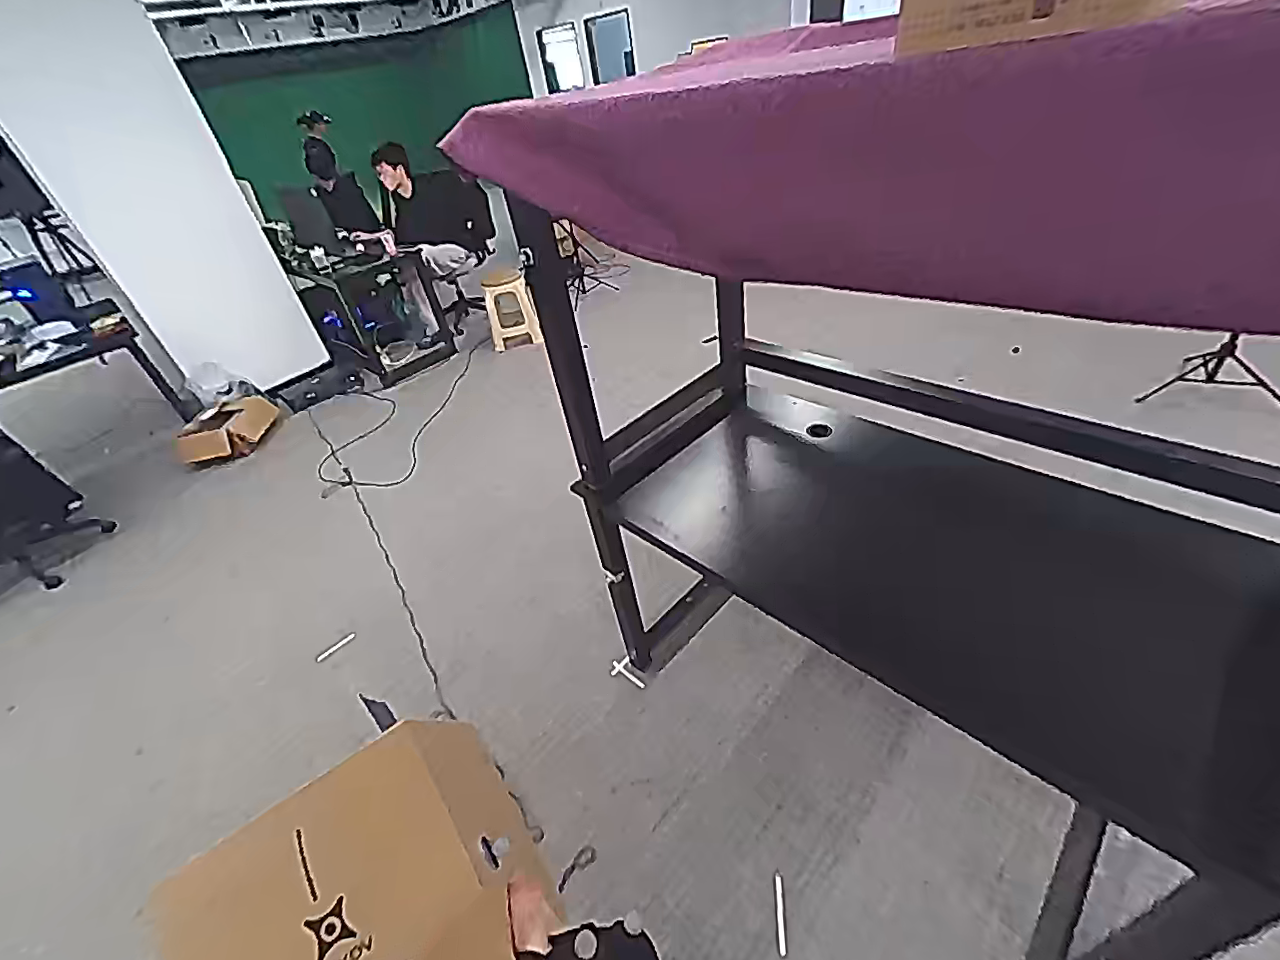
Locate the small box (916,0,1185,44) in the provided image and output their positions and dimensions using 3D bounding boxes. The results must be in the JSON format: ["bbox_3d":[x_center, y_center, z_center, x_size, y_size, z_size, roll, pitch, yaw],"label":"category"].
[{"bbox_3d":[0.321,-0.432,0.386,0.168,0.176,0.179,25,49,38],"label":"small box"}]

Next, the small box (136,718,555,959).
[{"bbox_3d":[-0.174,0.288,0.371,0.168,0.176,0.179,-31,69,-15],"label":"small box"}]
